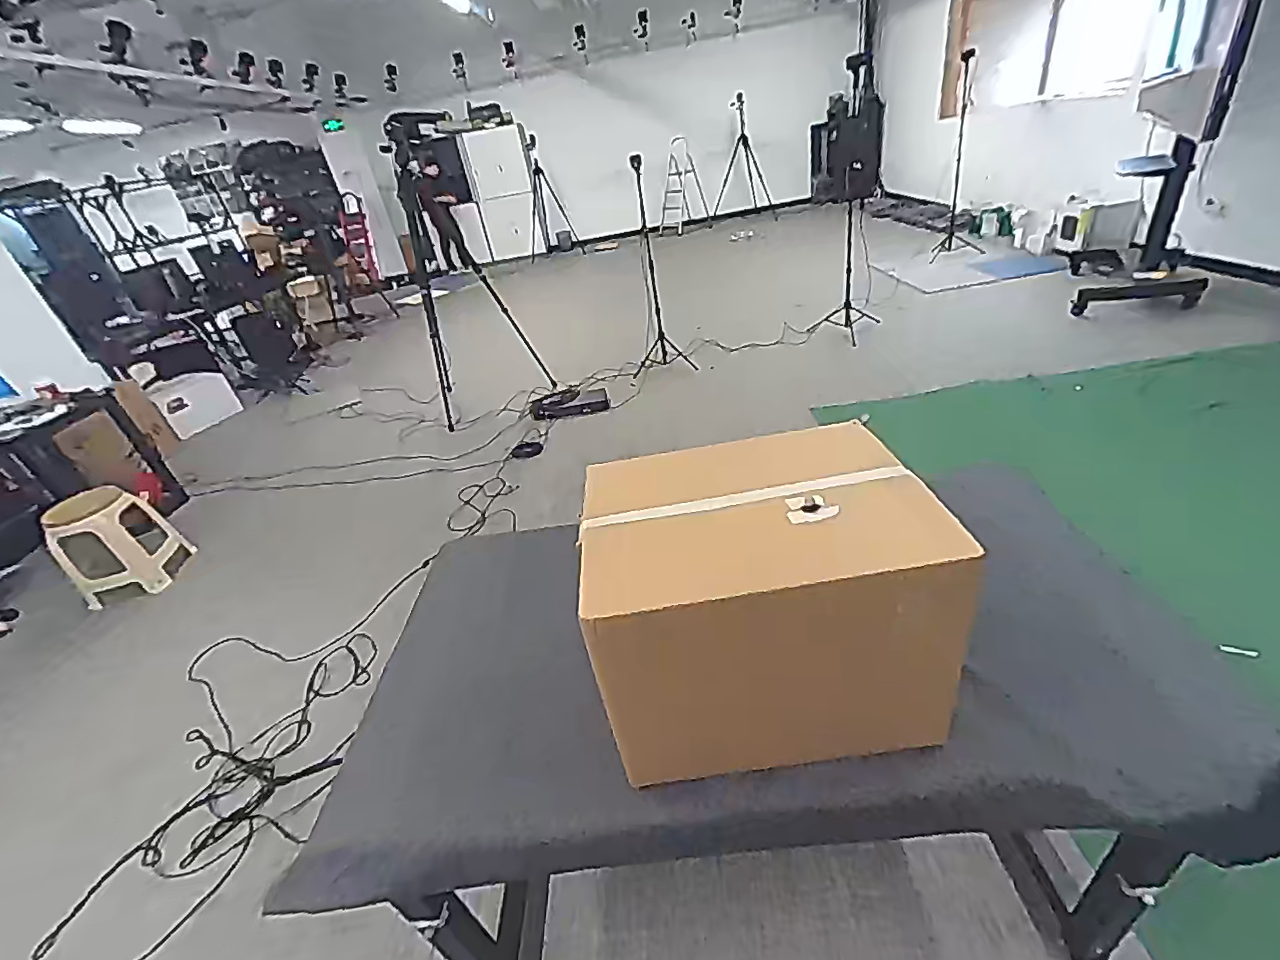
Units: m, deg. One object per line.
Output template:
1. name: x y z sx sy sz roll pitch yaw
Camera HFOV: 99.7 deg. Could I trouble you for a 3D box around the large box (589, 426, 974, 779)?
1. large box: 0.153 0.156 0.746 0.408 0.320 0.320 -9 32 1
